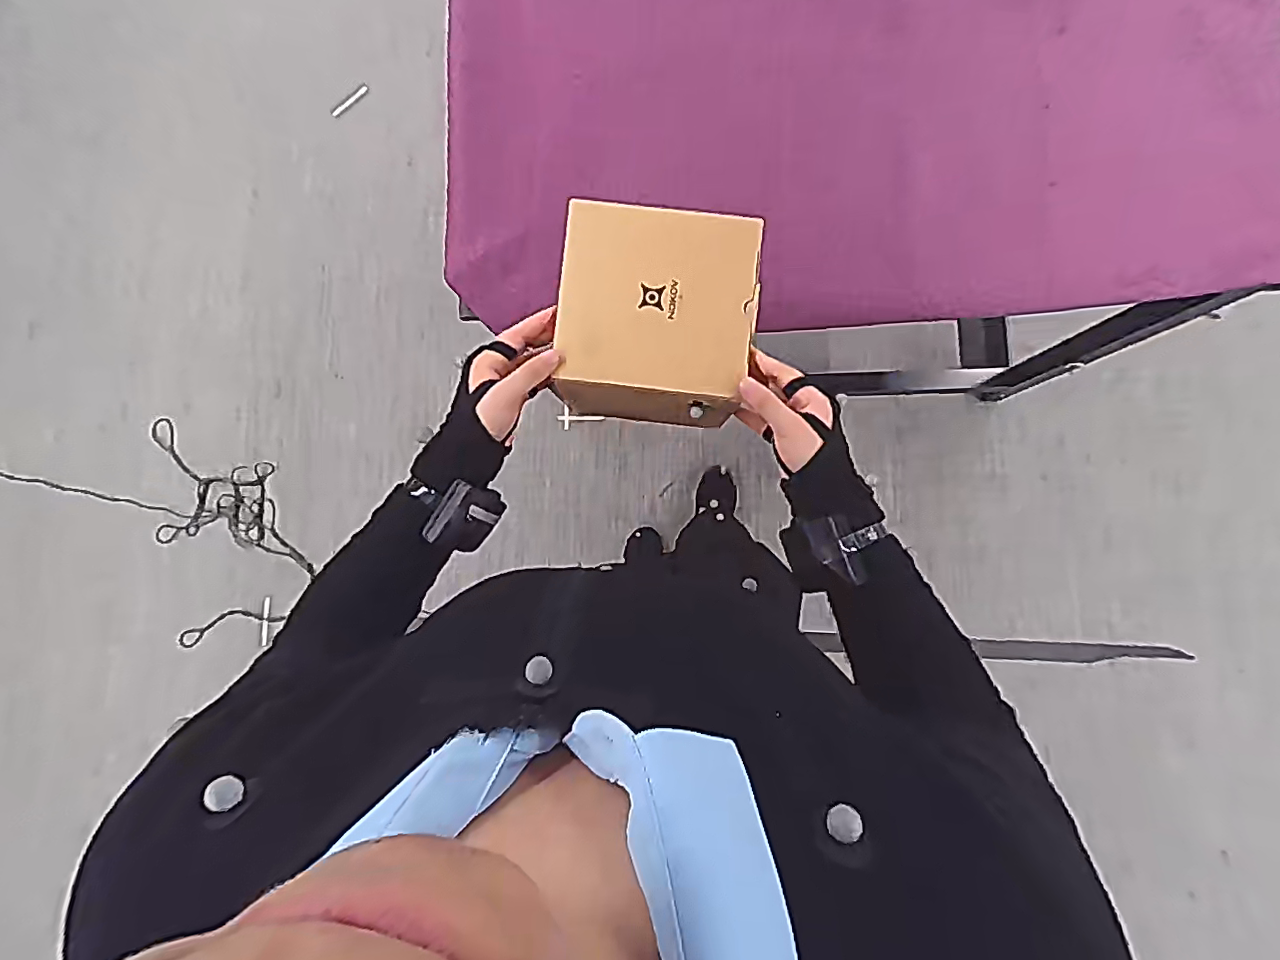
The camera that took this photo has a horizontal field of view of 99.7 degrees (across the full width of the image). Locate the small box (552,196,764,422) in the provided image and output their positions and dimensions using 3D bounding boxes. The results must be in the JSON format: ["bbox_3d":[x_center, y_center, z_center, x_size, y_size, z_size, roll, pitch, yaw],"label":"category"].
[{"bbox_3d":[0.017,-0.161,0.559,0.179,0.176,0.168,6,86,0],"label":"small box"}]
